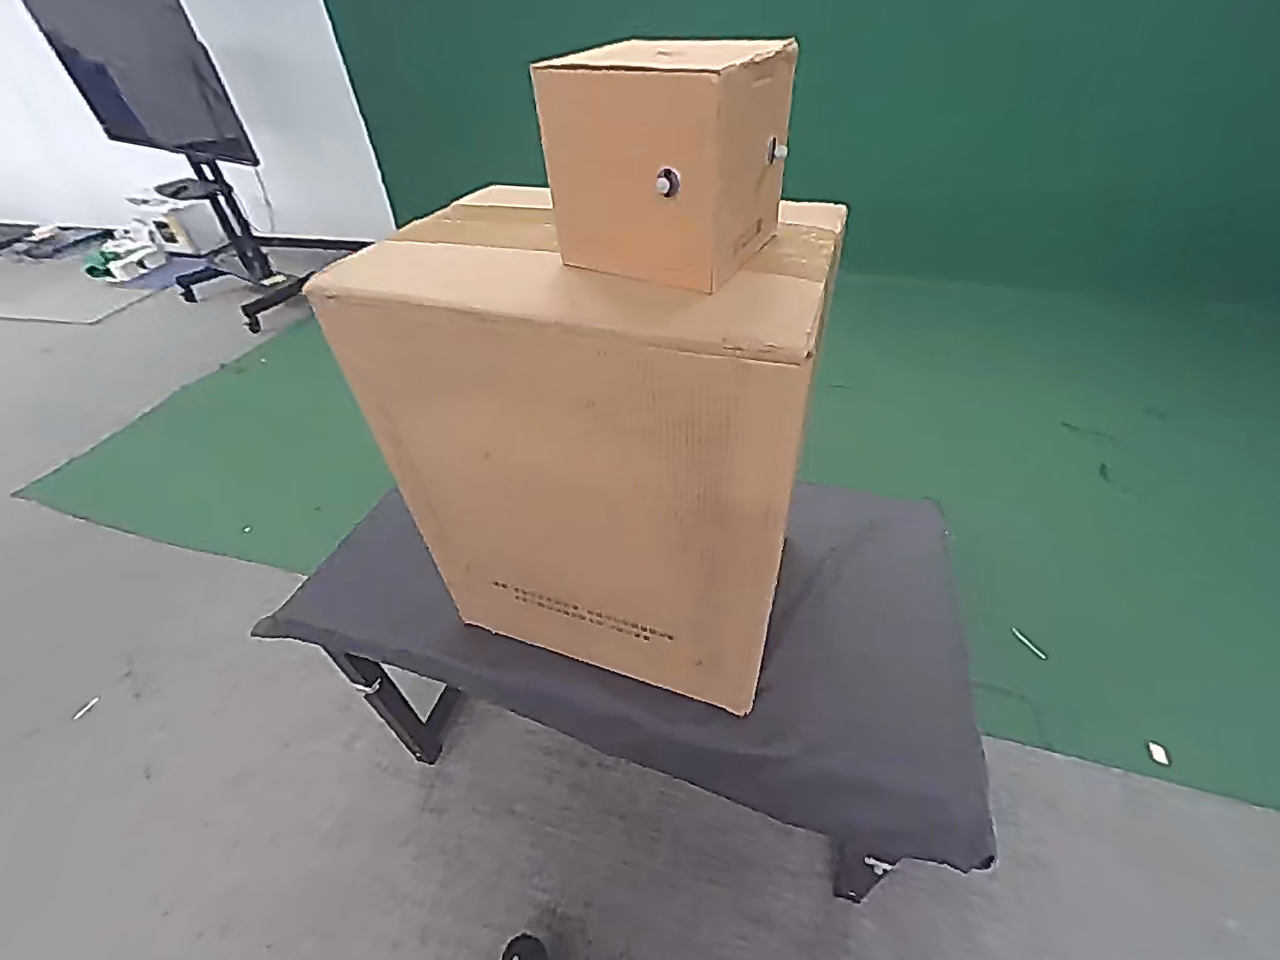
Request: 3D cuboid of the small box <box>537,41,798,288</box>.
[{"bbox_3d":[0.032,-0.304,0.523,0.179,0.176,0.168,20,49,25],"label":"small box"}]
